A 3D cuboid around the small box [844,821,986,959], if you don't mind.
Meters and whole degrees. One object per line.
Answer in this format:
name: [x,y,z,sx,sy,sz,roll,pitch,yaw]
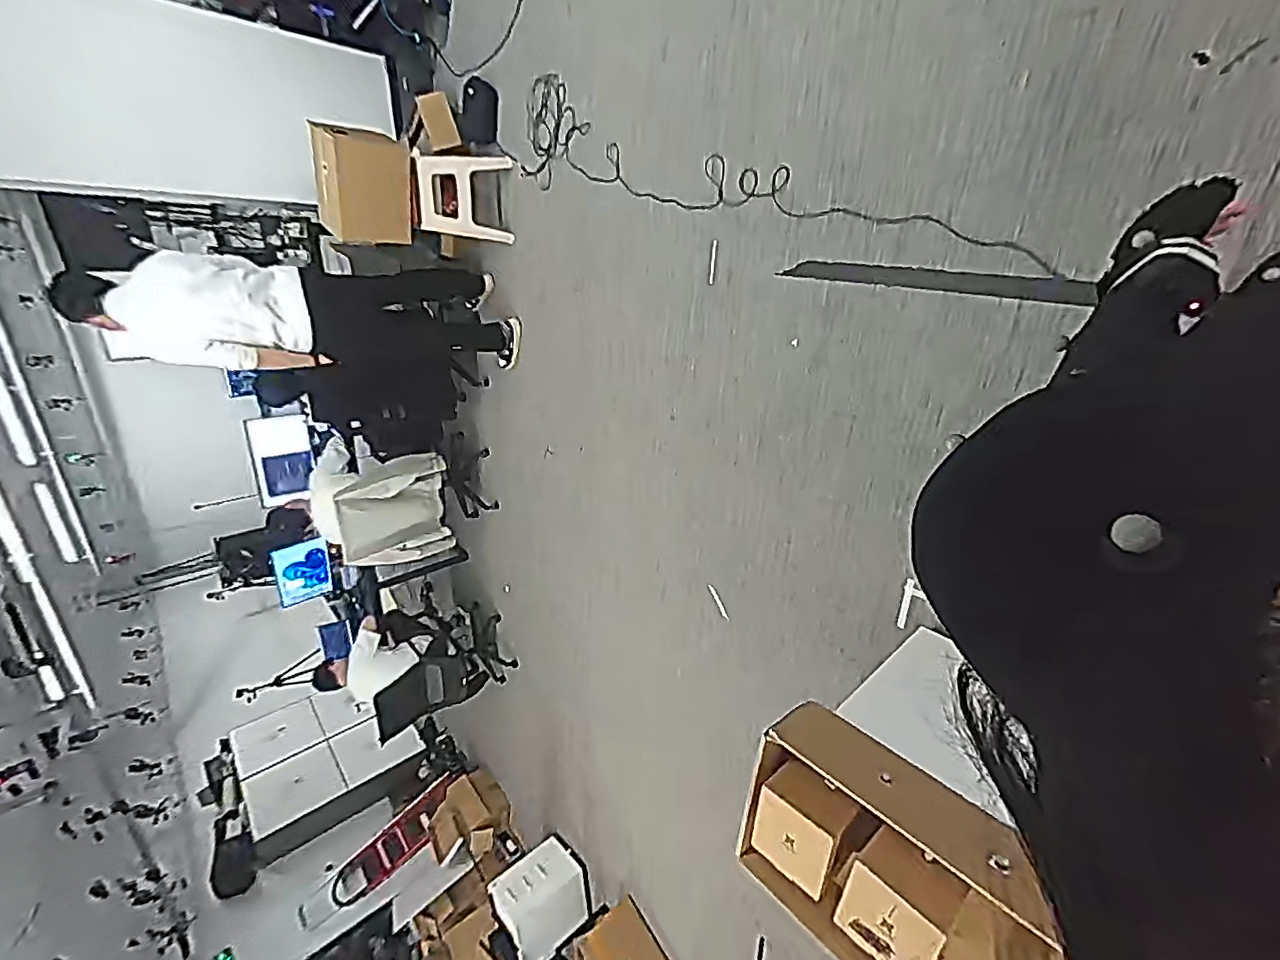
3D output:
small box: [0.517,0.801,1.015,0.168,0.176,0.179,26,116,42]
